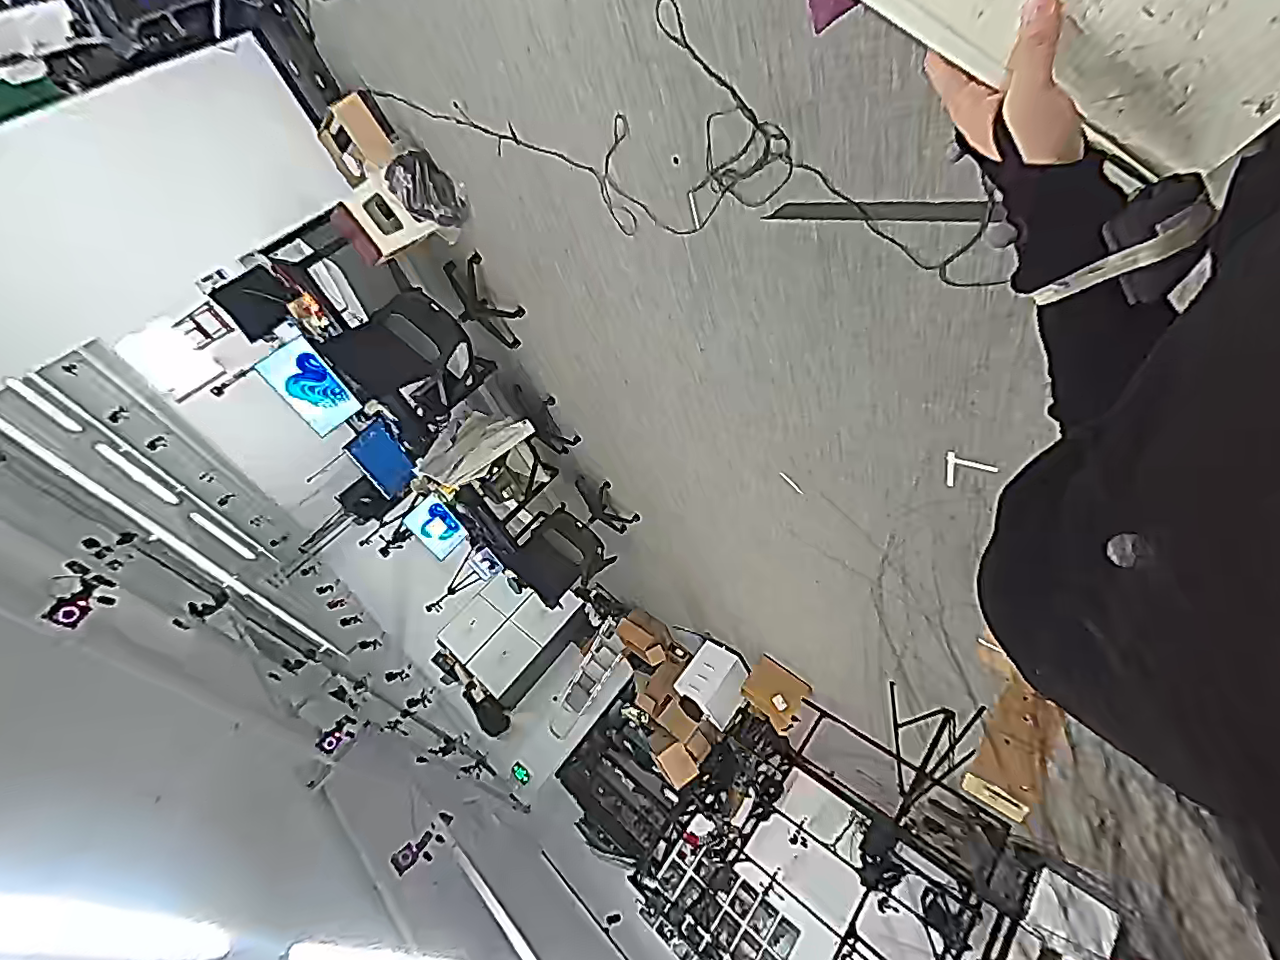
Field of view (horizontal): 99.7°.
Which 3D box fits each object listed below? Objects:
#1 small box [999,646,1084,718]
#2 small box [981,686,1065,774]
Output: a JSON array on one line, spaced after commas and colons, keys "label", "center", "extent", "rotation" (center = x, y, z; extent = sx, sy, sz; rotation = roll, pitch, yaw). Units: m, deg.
[{"label": "small box", "center": [1.338, 0.686, 1.802], "extent": [0.168, 0.176, 0.179], "rotation": [27, 153, 34]}, {"label": "small box", "center": [1.237, 0.803, 1.747], "extent": [0.168, 0.176, 0.179], "rotation": [26, 151, 37]}]
